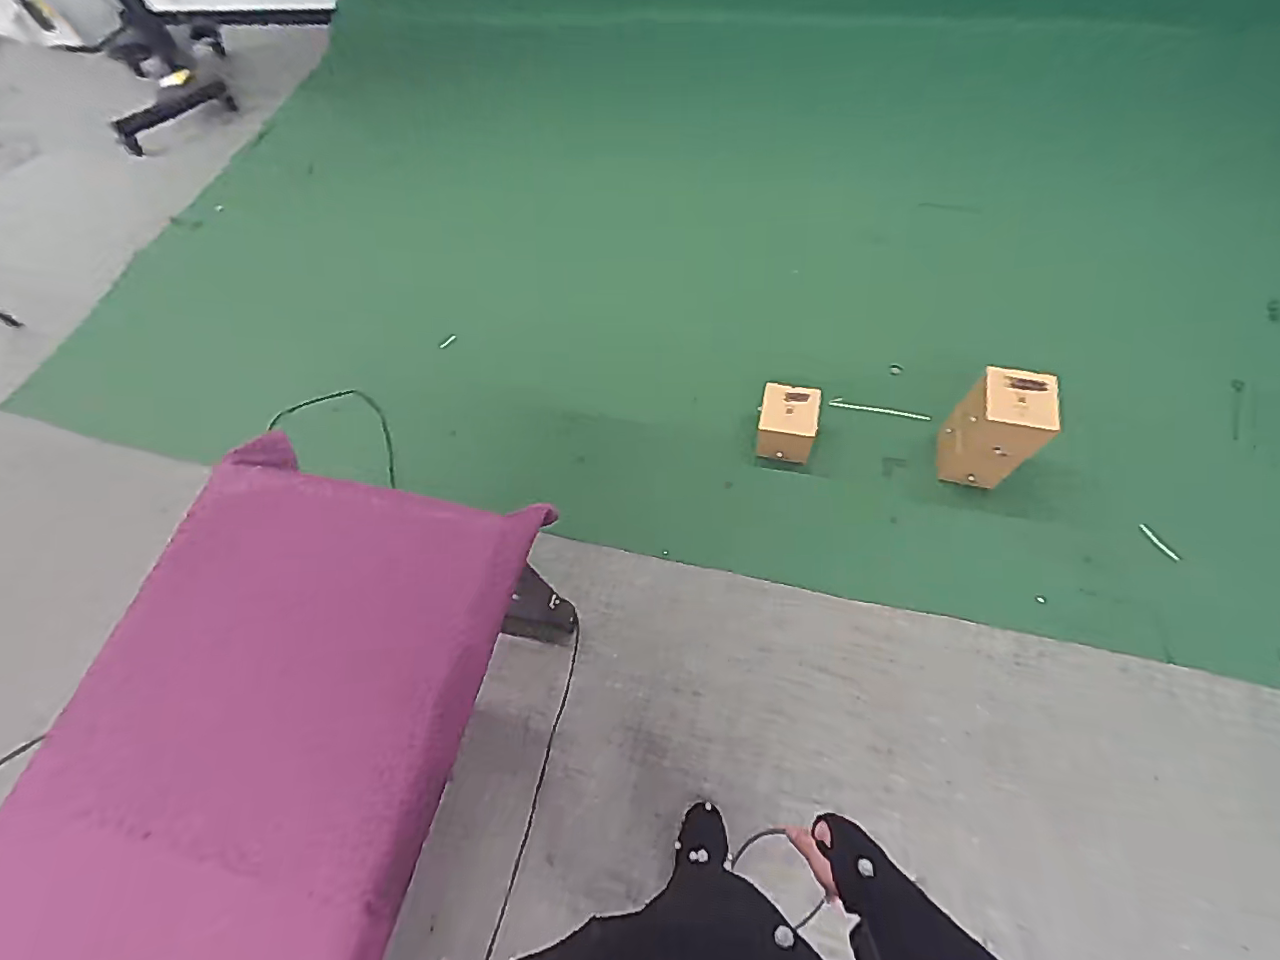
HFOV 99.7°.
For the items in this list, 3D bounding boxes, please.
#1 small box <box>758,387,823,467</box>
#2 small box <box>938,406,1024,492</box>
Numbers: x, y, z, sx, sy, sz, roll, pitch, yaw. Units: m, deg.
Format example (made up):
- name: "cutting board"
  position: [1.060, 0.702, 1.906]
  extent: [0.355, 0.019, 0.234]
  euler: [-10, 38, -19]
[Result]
- name: "small box"
  position: [0.468, -0.165, 1.703]
  extent: [0.168, 0.176, 0.179]
  euler: [10, 65, 13]
- name: "small box"
  position: [1.001, -0.090, 1.598]
  extent: [0.168, 0.176, 0.179]
  euler: [12, 65, 13]
